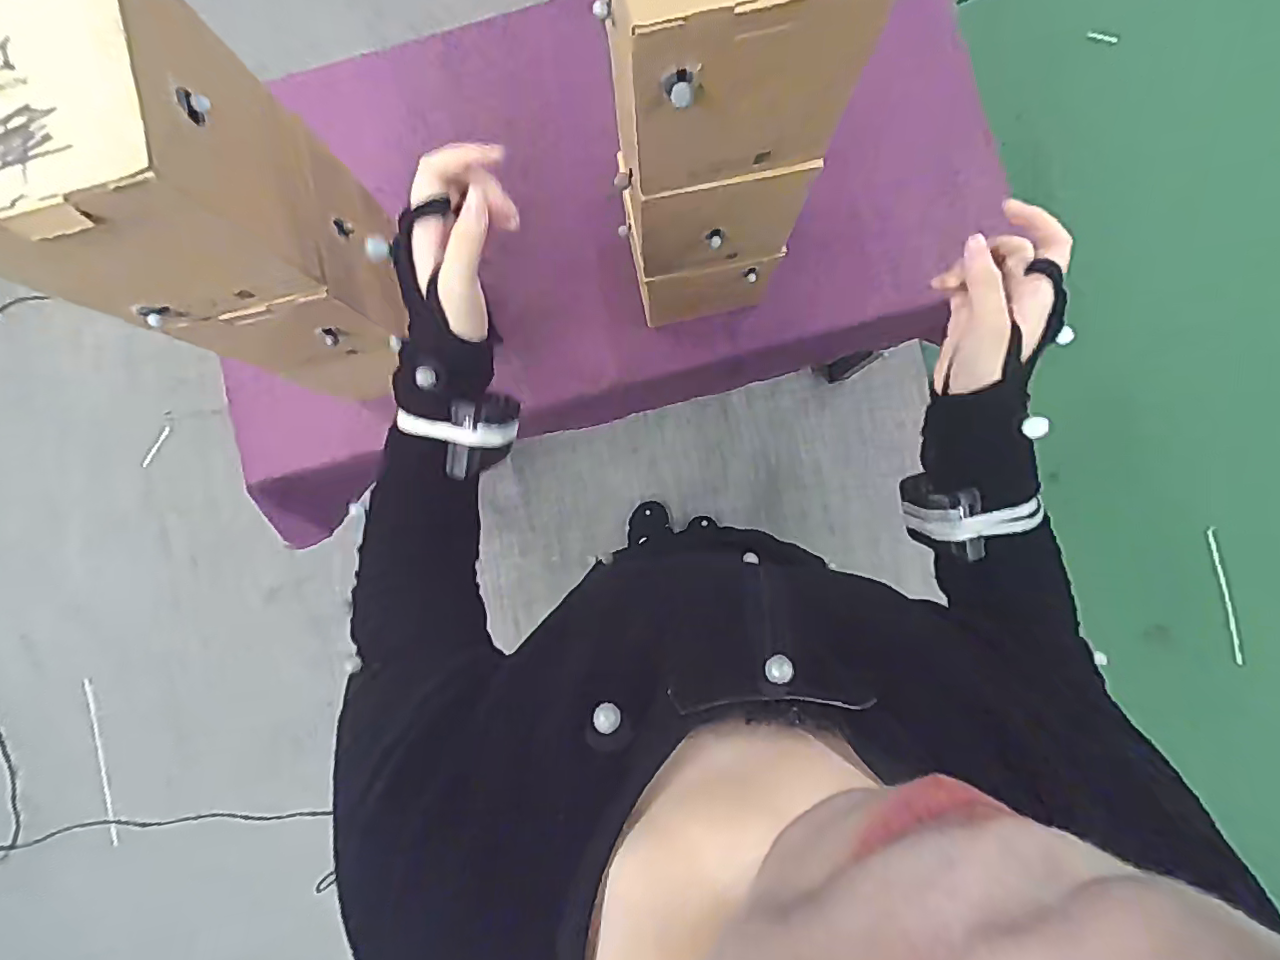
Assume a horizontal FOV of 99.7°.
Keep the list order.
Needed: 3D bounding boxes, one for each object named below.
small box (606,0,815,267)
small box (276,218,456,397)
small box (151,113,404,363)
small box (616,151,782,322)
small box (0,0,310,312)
[{"bbox_3d":[0.065,-0.340,0.559,0.168,0.176,0.179,-9,87,1],"label":"small box"},{"bbox_3d":[-0.367,-0.221,0.735,0.179,0.176,0.168,-12,87,1],"label":"small box"},{"bbox_3d":[-0.373,-0.233,0.573,0.168,0.176,0.179,-11,87,2],"label":"small box"},{"bbox_3d":[0.073,-0.327,0.723,0.179,0.176,0.168,-11,87,1],"label":"small box"},{"bbox_3d":[-0.387,-0.244,0.409,0.168,0.176,0.179,-14,86,1],"label":"small box"}]
